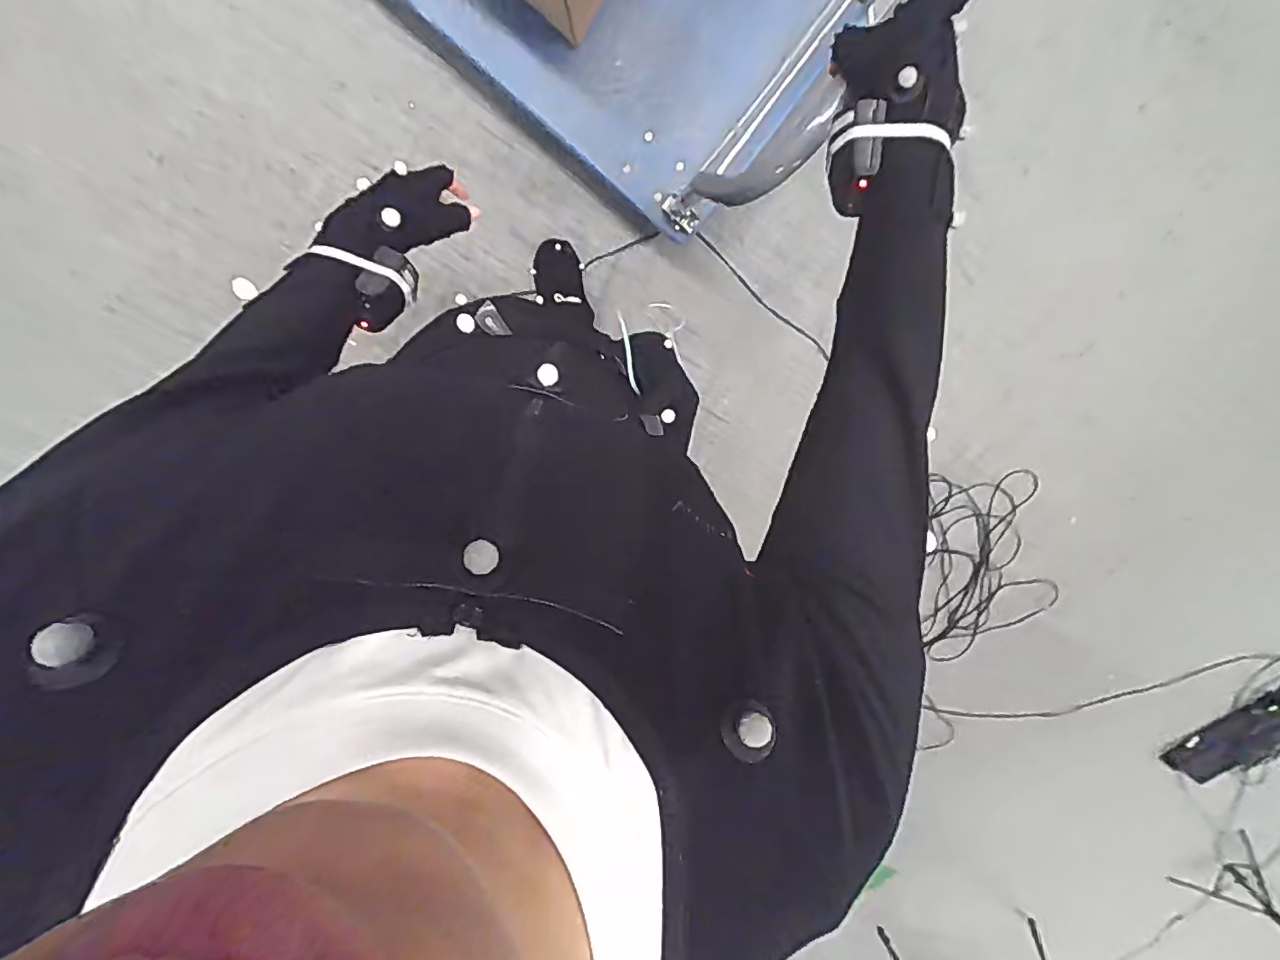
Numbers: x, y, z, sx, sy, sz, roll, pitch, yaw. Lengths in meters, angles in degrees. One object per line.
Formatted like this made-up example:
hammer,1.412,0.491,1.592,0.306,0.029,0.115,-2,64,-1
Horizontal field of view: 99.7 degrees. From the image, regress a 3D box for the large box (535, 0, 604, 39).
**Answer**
large box,-0.104,-0.944,0.732,0.320,0.320,0.408,33,112,-17
